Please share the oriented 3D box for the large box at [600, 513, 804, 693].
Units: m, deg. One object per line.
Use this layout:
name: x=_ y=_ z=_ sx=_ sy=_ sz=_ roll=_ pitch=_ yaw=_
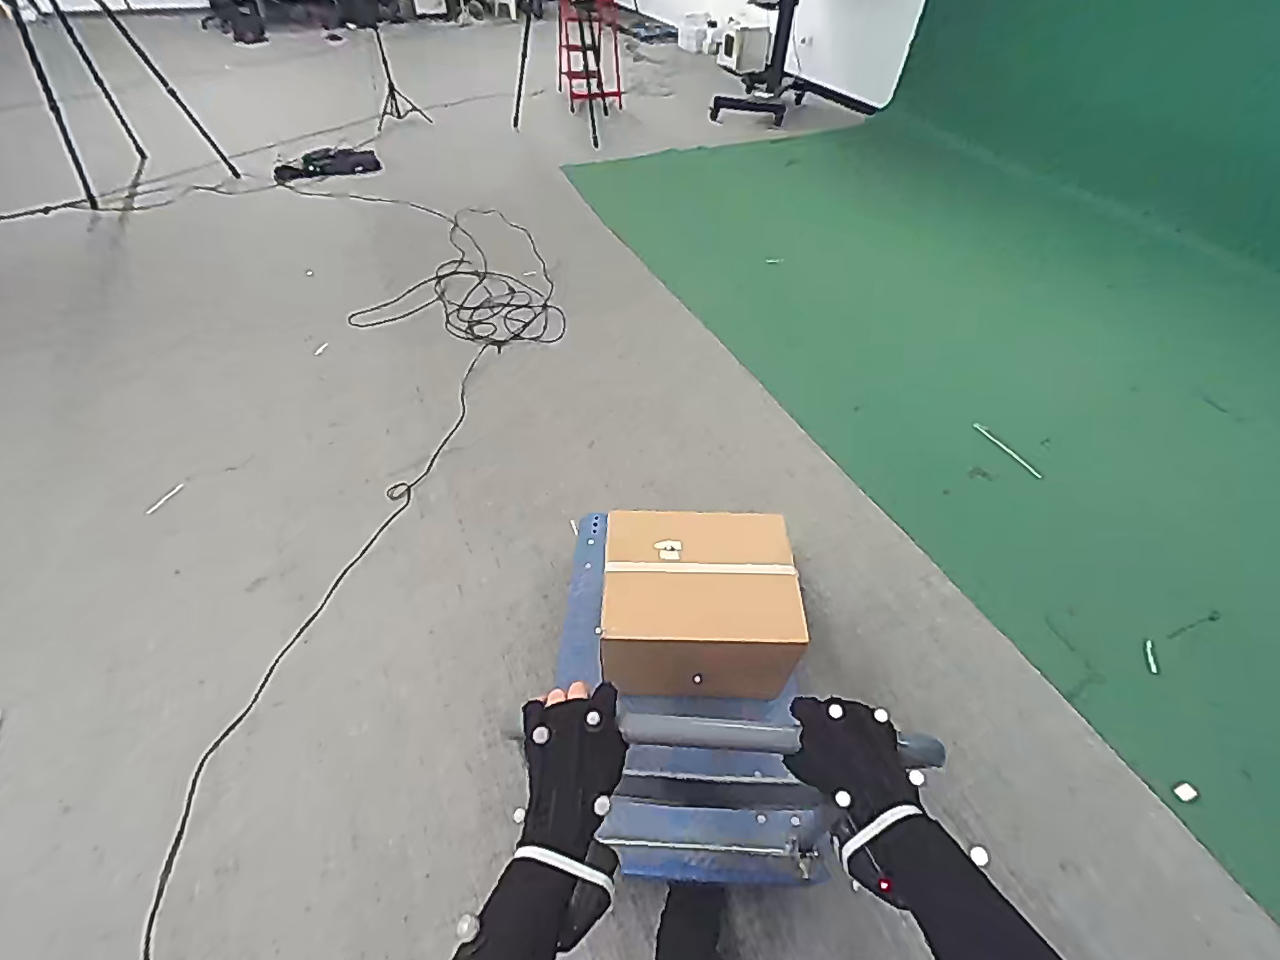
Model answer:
large box: x=0.121 y=0.290 z=1.254 sx=0.408 sy=0.320 sz=0.320 roll=1 pitch=48 yaw=0
